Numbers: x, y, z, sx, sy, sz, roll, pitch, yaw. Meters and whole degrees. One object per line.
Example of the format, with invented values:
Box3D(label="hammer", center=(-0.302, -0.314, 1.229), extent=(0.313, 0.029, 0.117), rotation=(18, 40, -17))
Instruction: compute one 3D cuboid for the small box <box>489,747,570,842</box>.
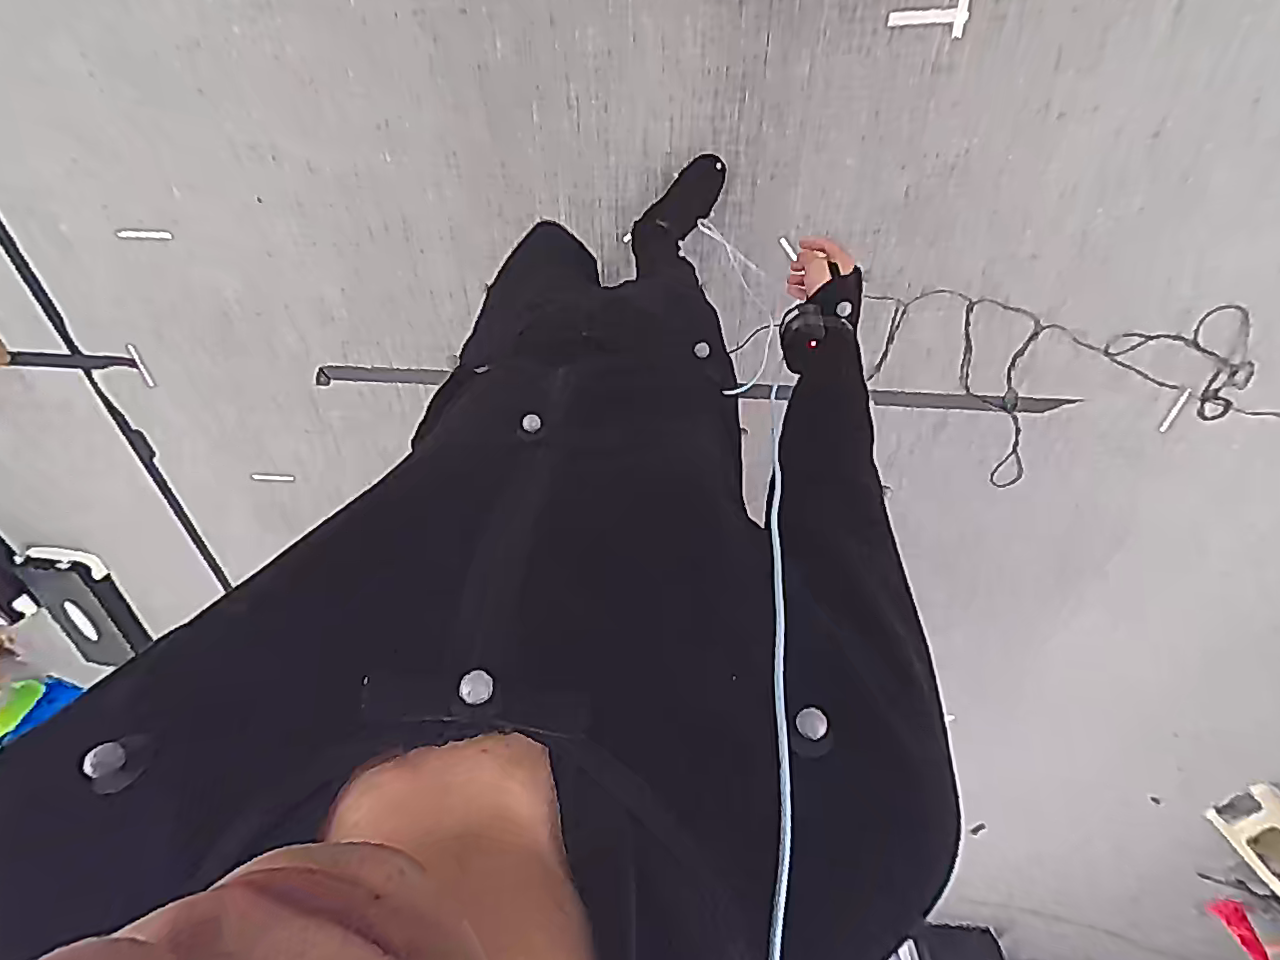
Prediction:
Box3D(label="small box", center=(-0.286, 0.840, 1.449), extent=(0.179, 0.176, 0.168), rotation=(2, 125, 4))
